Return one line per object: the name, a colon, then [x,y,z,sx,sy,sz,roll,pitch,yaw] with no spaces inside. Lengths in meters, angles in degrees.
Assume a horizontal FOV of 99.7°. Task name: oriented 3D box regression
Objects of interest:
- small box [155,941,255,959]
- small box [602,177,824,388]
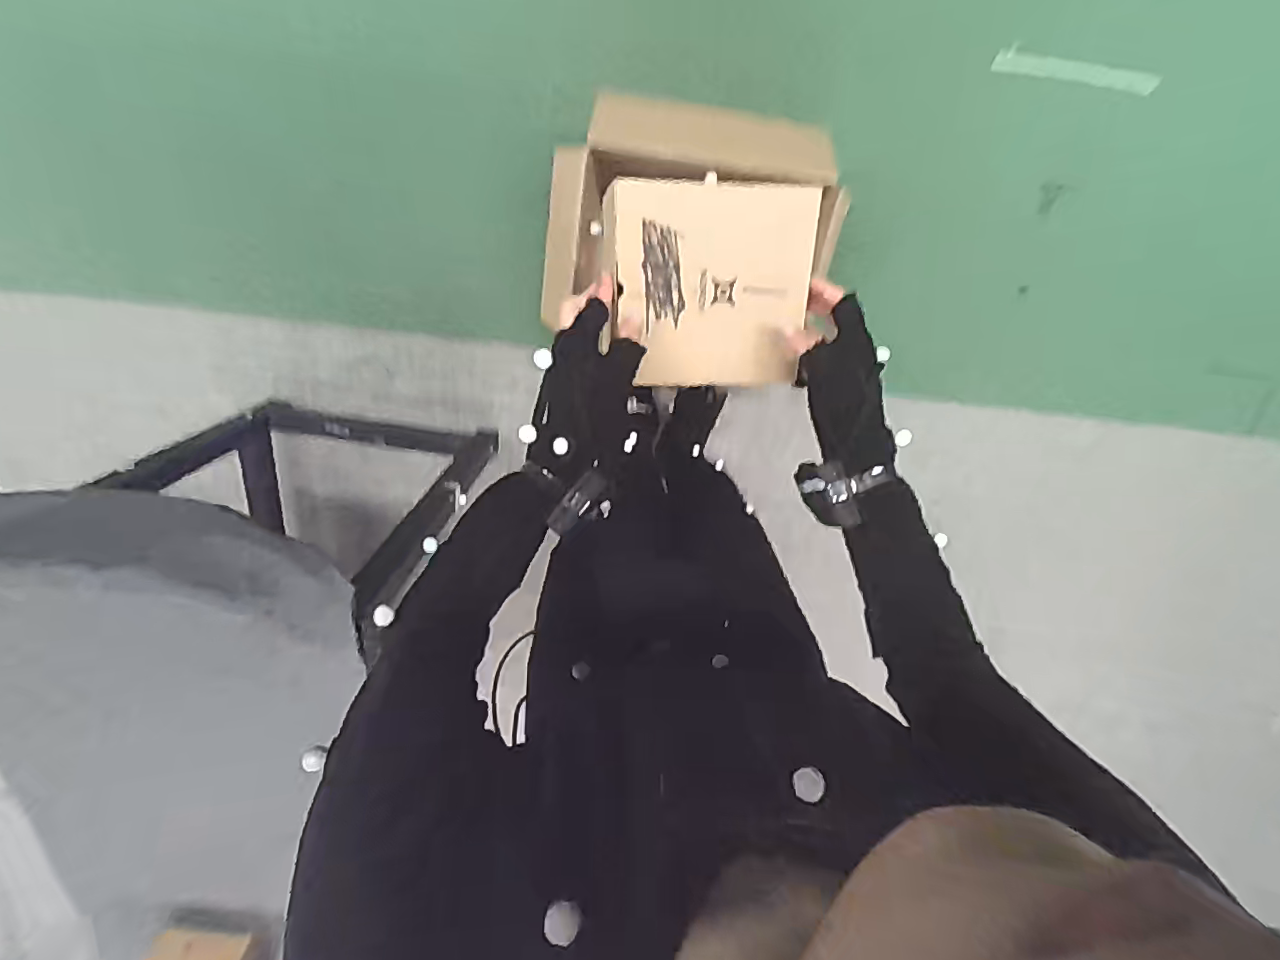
small box: [-0.842,0.999,1.003,0.168,0.176,0.179,6,116,-1]
small box: [0.052,-0.190,0.530,0.179,0.176,0.168,-1,113,-7]
